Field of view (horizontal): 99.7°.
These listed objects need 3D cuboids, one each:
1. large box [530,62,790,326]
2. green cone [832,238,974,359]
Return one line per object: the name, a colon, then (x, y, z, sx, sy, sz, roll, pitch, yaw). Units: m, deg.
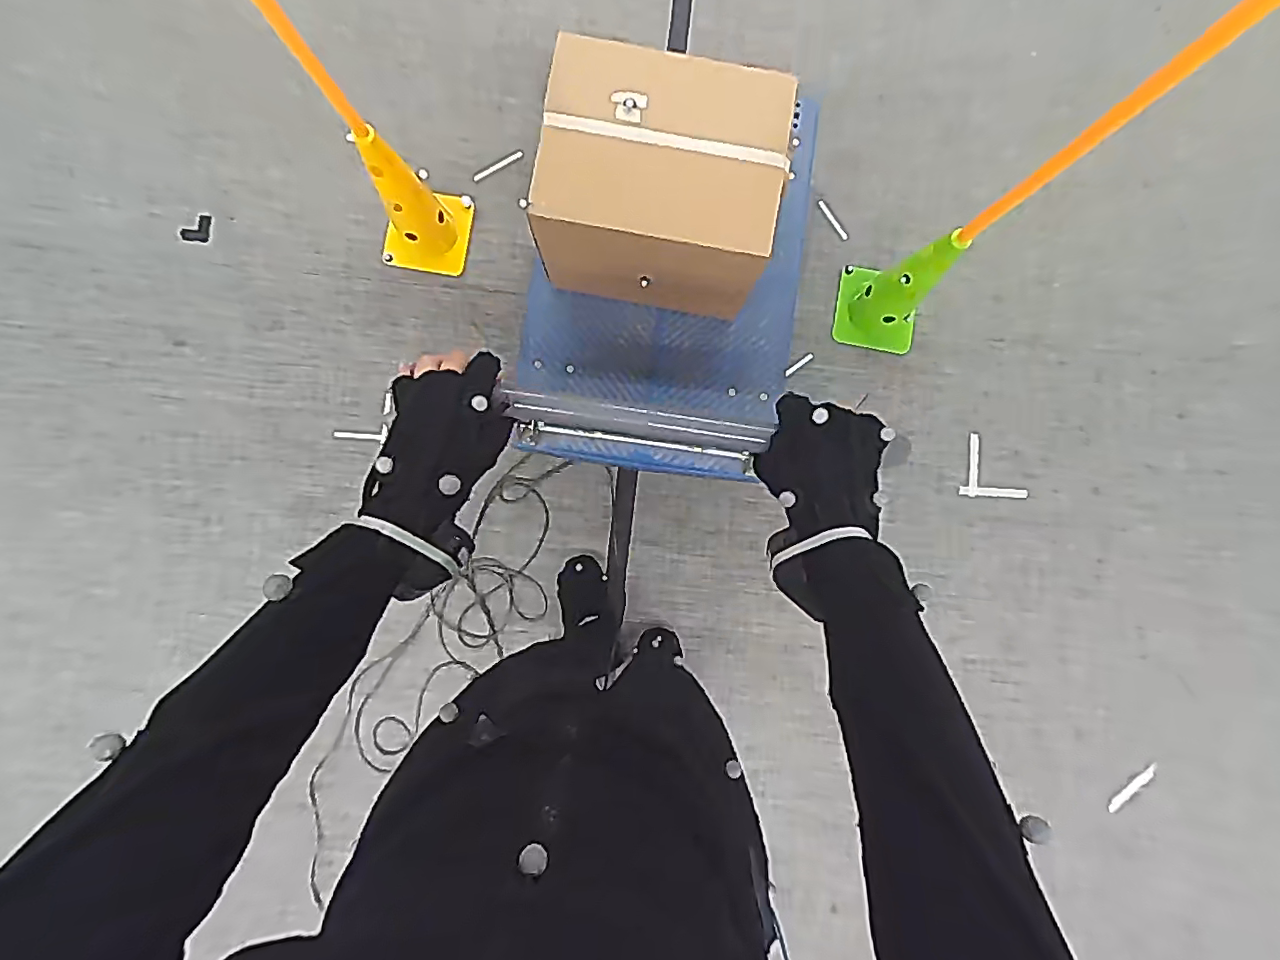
large box: (0.036, -0.520, 1.053, 0.408, 0.320, 0.320, 10, 87, 0)
green cone: (0.603, -0.427, 1.203, 0.202, 0.368, 0.200, 10, 86, -2)
